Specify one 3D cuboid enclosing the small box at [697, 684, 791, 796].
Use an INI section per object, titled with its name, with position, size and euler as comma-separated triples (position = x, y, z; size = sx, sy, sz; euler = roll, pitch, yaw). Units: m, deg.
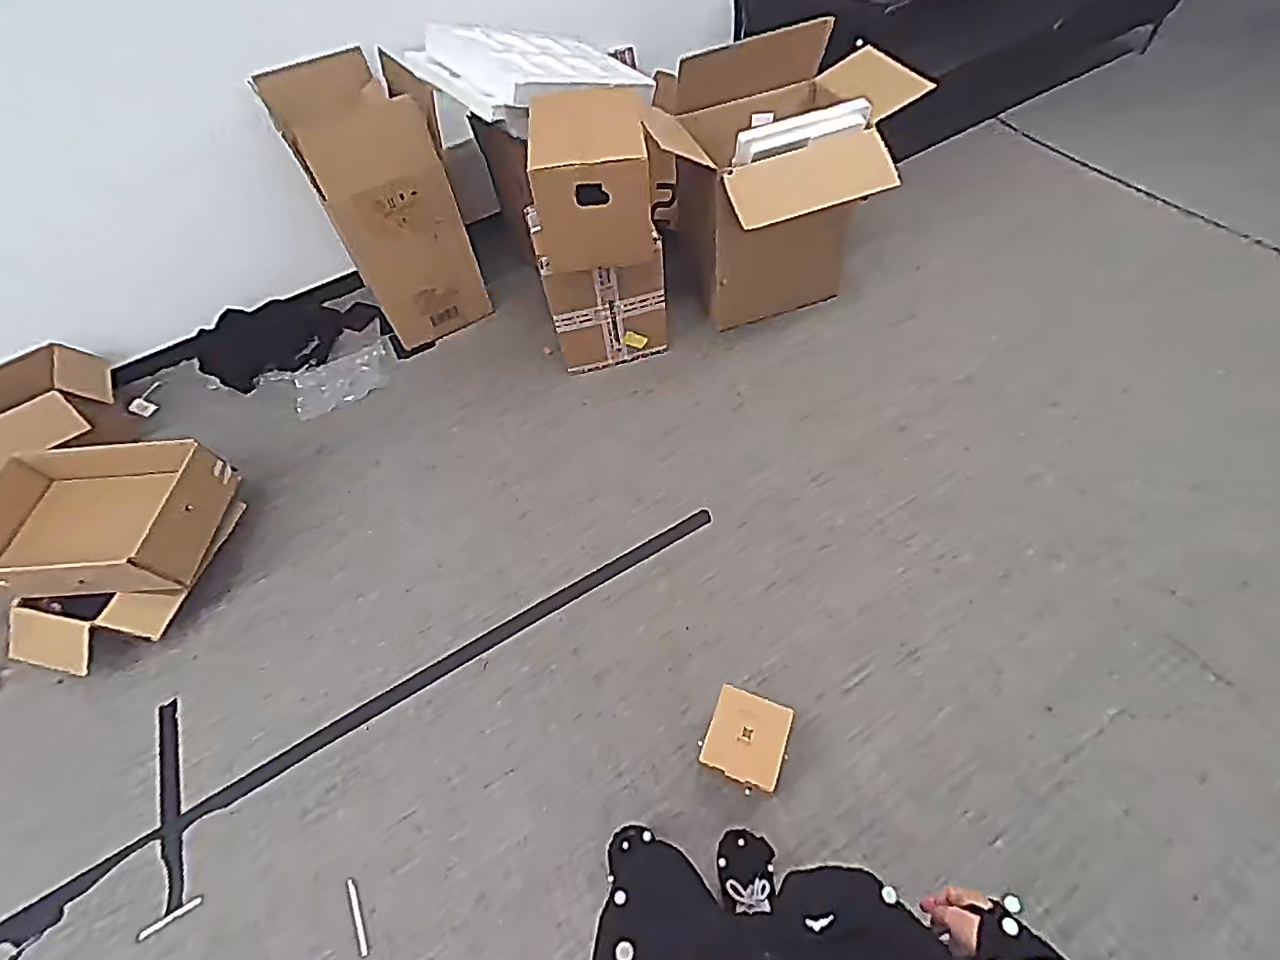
[small box]
position = 0.236, 0.602, 1.242
size = 0.168, 0.176, 0.179
euler = 17, 59, 16
